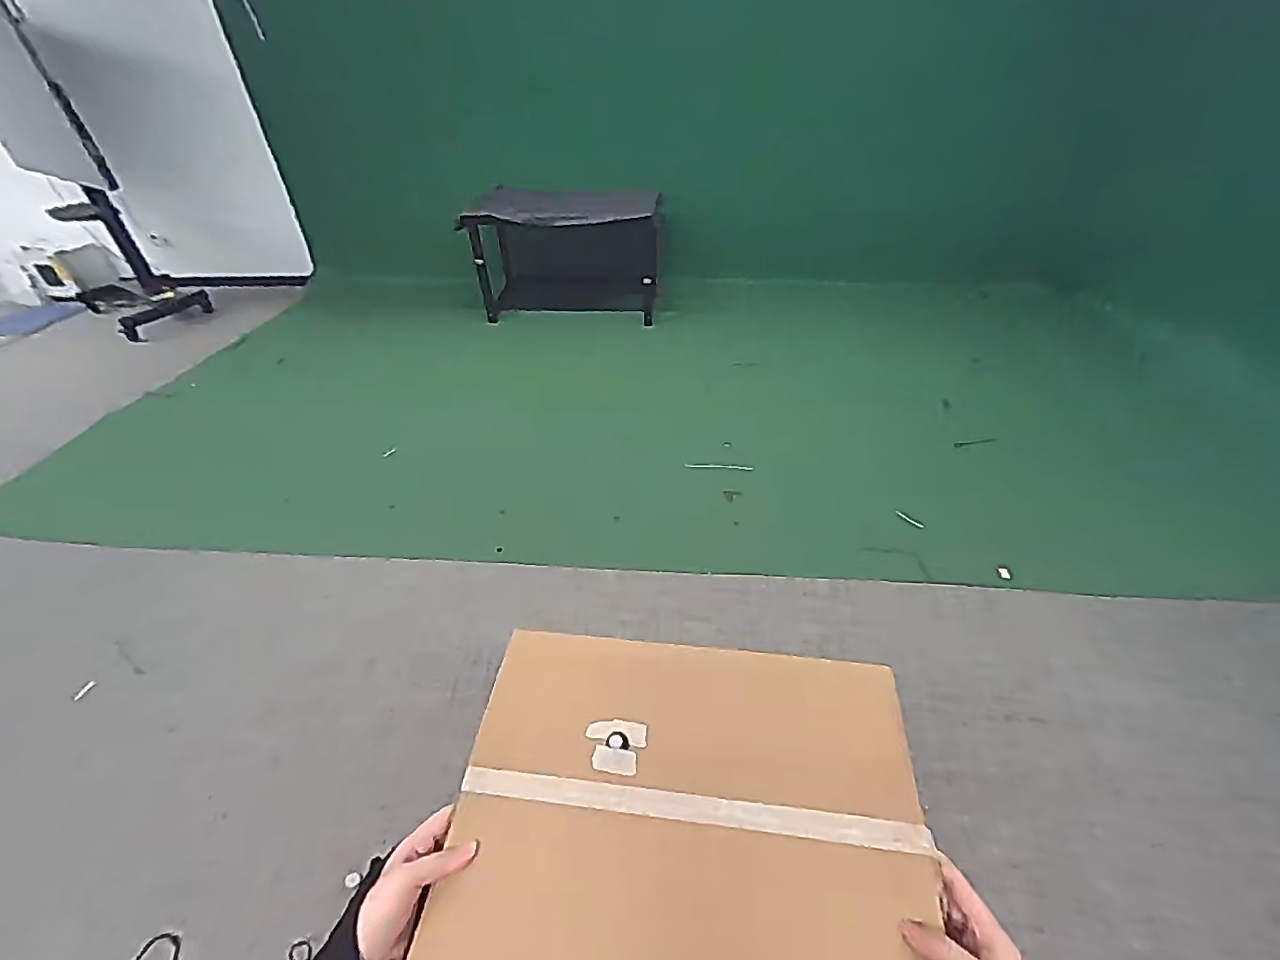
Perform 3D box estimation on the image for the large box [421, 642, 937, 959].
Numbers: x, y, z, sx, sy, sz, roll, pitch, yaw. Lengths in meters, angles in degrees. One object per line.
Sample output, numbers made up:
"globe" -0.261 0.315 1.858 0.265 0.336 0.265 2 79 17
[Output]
"large box" 0.050 0.401 0.592 0.408 0.320 0.320 2 45 9
